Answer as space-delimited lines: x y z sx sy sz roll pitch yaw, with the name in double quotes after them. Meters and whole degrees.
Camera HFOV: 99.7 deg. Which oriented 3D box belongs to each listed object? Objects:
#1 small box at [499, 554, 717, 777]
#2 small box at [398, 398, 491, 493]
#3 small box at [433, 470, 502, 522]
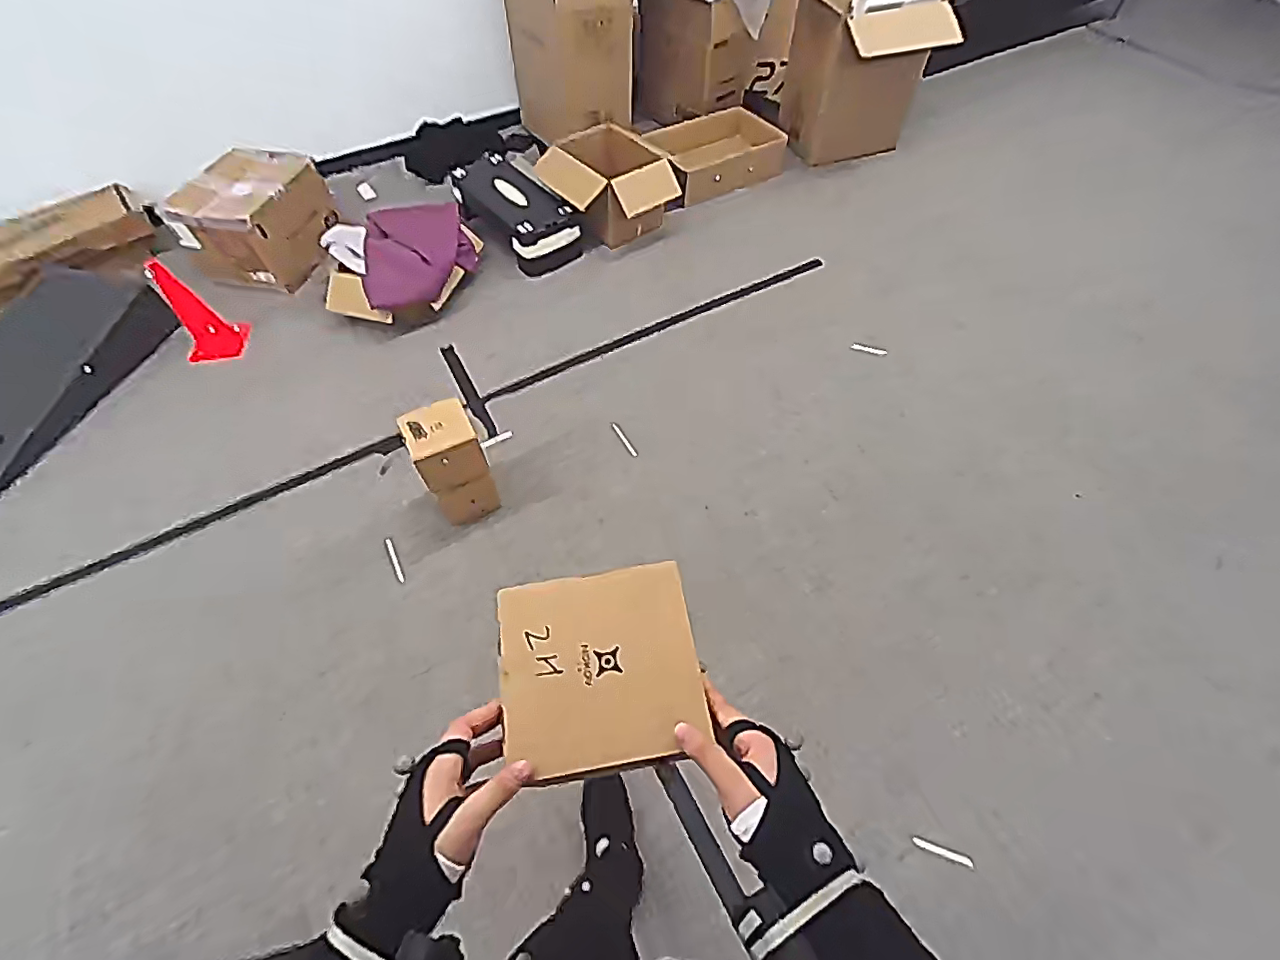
-0.032 0.191 0.541 0.179 0.176 0.168 -9 60 -3 "small box"
-0.540 -0.091 1.505 0.179 0.176 0.168 -24 59 -15 "small box"
-0.536 0.007 1.639 0.168 0.176 0.179 -25 60 -14 "small box"
